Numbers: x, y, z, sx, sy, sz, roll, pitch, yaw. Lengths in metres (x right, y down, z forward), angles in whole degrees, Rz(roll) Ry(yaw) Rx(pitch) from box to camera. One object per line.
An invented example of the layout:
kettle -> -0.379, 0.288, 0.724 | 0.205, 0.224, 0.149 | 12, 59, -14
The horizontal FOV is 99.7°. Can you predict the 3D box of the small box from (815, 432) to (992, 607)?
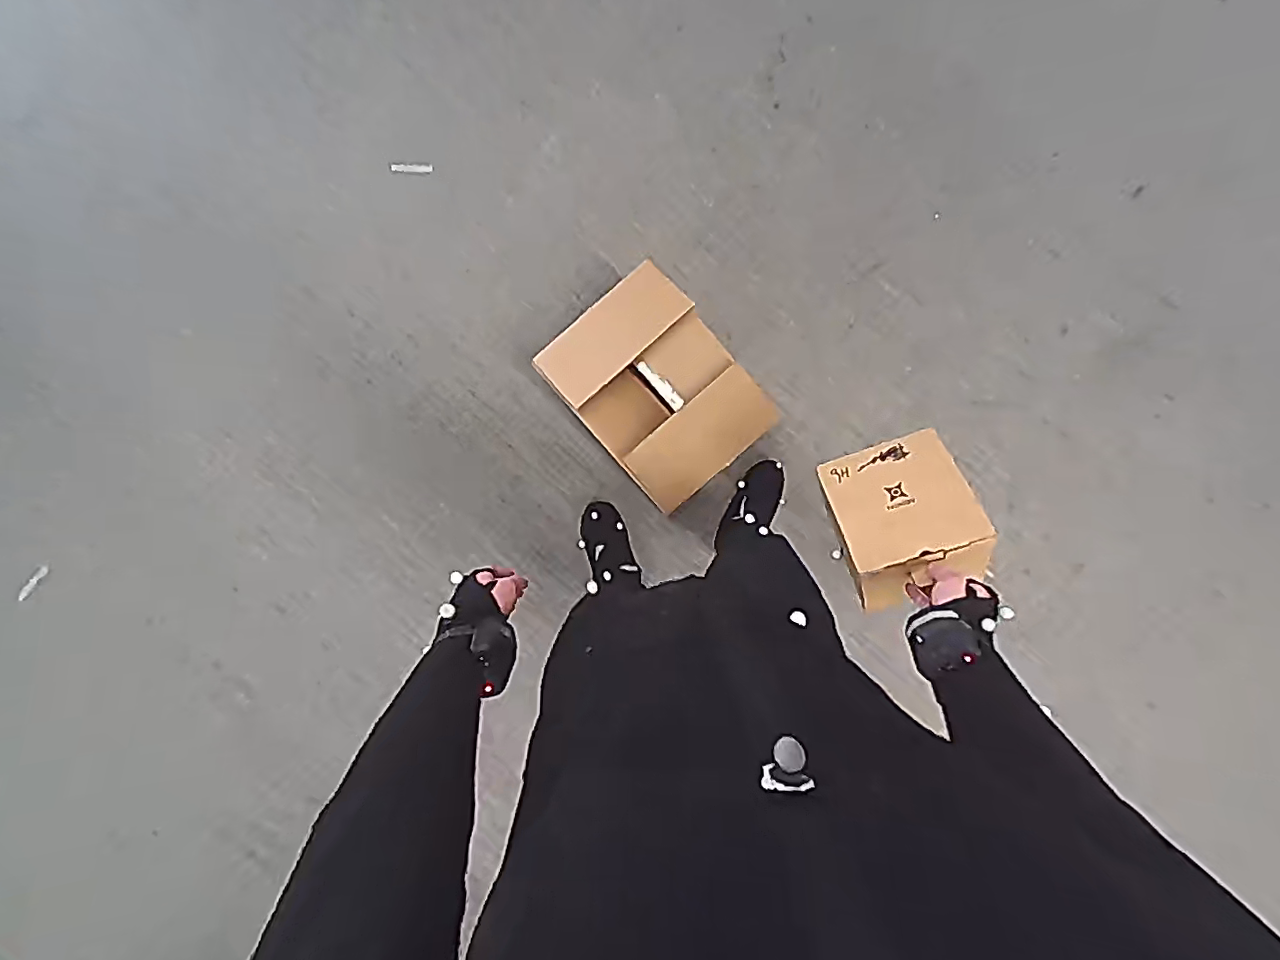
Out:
small box -> 0.374, 0.068, 0.781 | 0.168, 0.176, 0.179 | -23, 52, 14
